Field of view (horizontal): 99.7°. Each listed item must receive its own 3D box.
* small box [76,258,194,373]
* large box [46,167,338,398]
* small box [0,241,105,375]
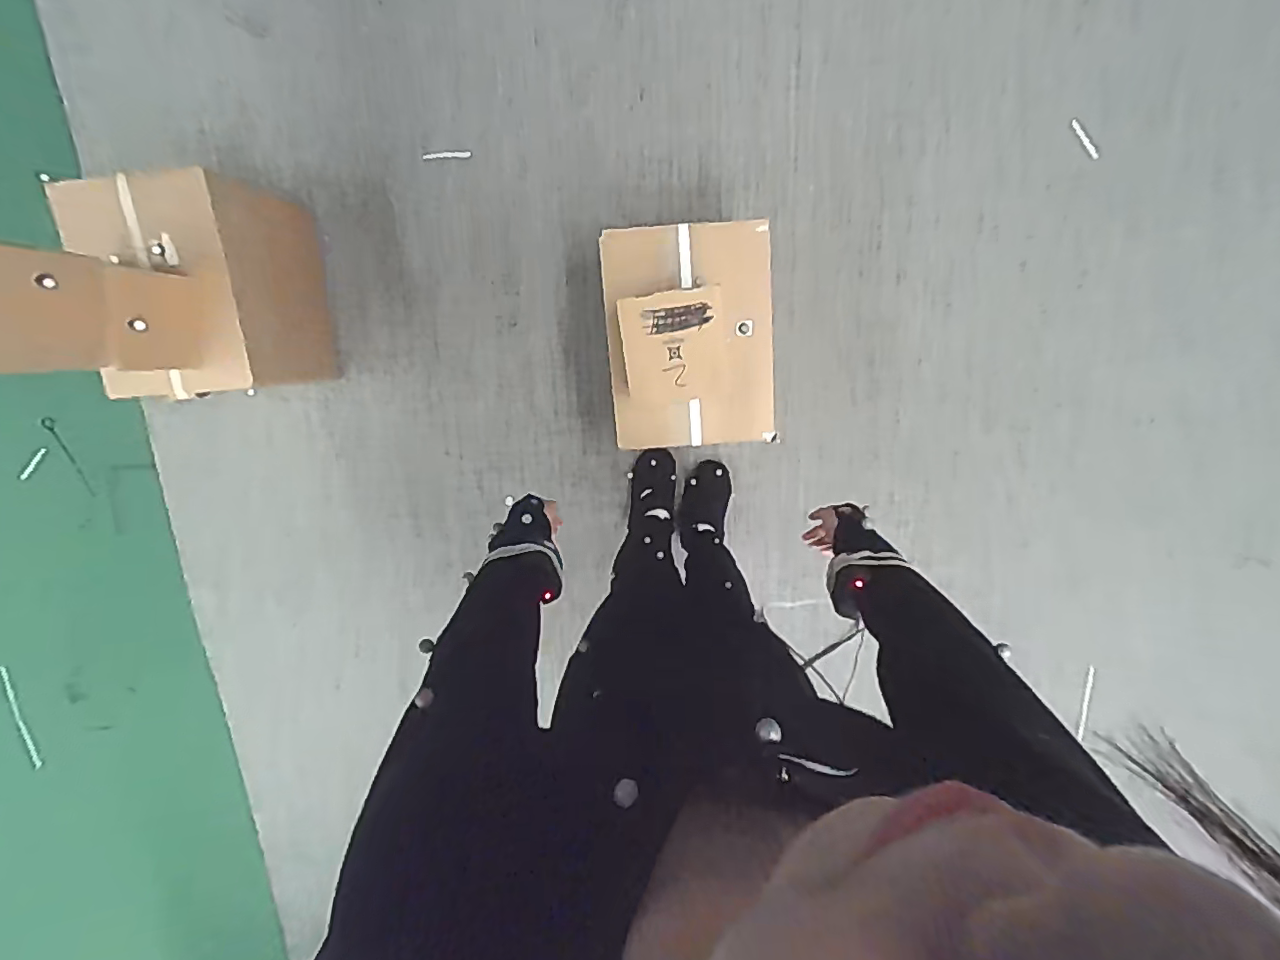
[{"bbox_3d":[-0.937,-0.290,0.955,0.168,0.176,0.179,7,105,1],"label":"small box"},{"bbox_3d":[-0.925,-0.399,1.177,0.320,0.320,0.408,-3,103,3],"label":"large box"},{"bbox_3d":[-0.949,-0.260,0.795,0.168,0.176,0.179,11,105,1],"label":"small box"}]
